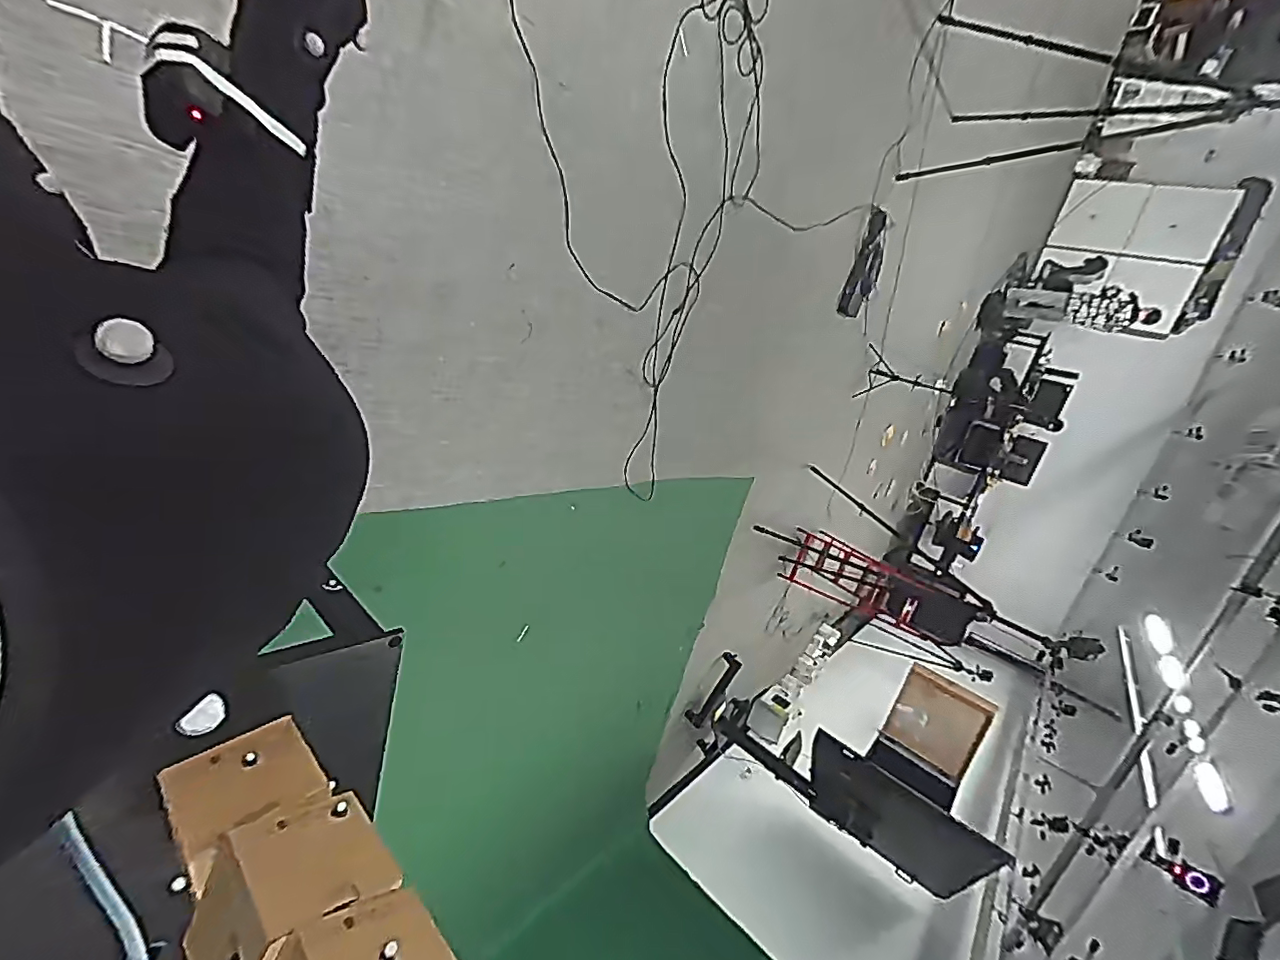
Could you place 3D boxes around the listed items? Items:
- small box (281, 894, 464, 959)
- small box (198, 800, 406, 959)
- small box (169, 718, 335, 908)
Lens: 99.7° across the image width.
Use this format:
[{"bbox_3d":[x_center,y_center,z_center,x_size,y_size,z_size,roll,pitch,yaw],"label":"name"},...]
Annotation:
[{"bbox_3d":[-0.333,0.635,0.633,0.168,0.176,0.179,33,84,-54],"label":"small box"},{"bbox_3d":[-0.453,0.567,0.723,0.168,0.176,0.179,15,100,-54],"label":"small box"},{"bbox_3d":[-0.576,0.505,0.813,0.168,0.176,0.179,-16,124,-46],"label":"small box"}]
